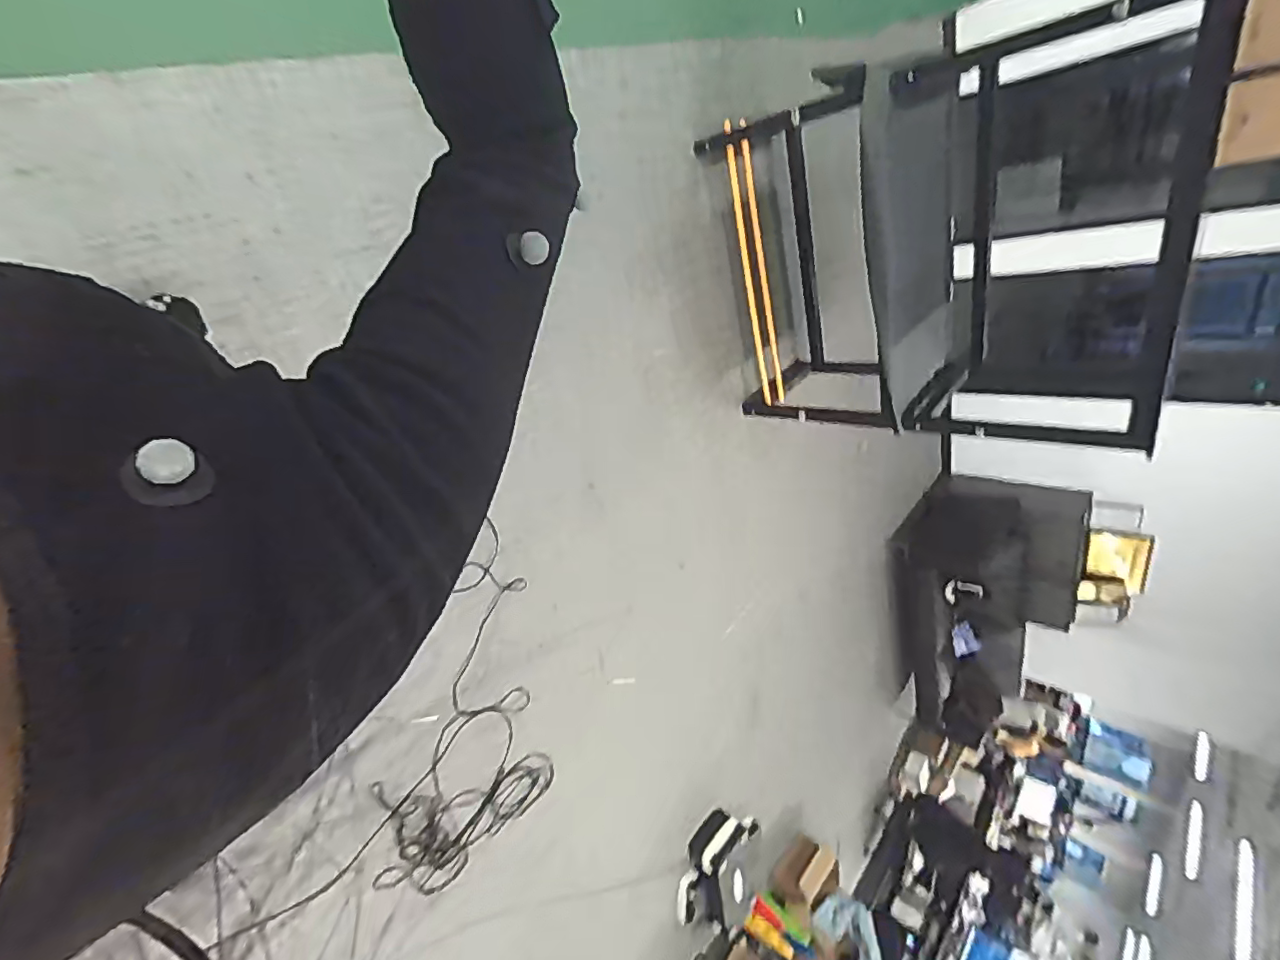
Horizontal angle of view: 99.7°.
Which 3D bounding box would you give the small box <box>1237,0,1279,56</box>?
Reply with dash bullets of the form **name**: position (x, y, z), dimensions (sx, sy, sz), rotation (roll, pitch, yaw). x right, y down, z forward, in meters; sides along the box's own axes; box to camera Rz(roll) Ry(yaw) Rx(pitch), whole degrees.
- **small box**: position (1.412, -1.040, 1.149), dimensions (0.179, 0.176, 0.168), rotation (-44, 129, -30)
